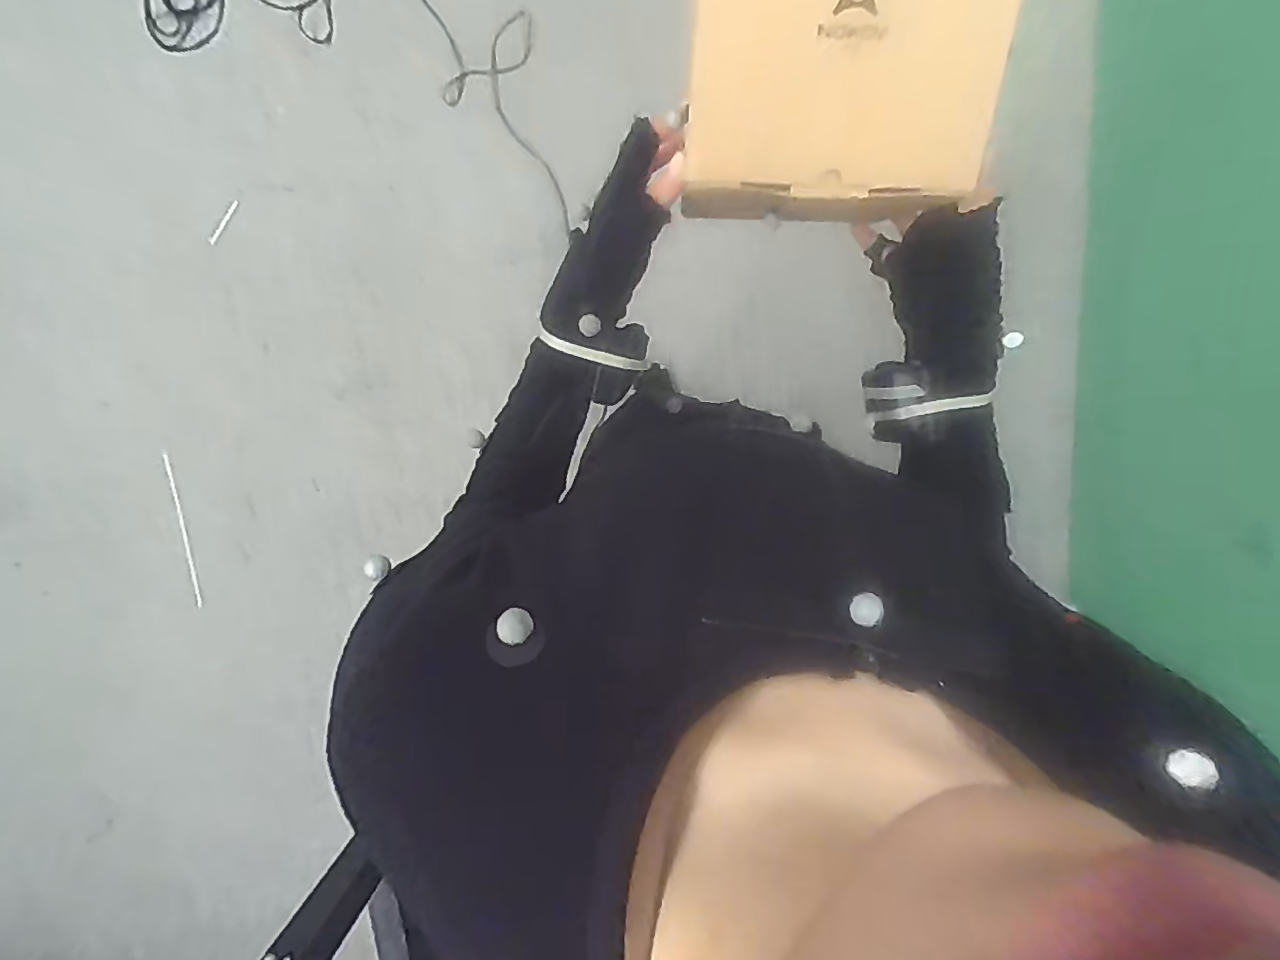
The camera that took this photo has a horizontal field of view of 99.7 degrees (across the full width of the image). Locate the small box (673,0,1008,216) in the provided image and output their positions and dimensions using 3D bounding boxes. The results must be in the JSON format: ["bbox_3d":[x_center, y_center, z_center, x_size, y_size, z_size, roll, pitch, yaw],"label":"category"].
[{"bbox_3d":[0.108,-0.278,0.349,0.168,0.176,0.179,3,111,3],"label":"small box"}]
